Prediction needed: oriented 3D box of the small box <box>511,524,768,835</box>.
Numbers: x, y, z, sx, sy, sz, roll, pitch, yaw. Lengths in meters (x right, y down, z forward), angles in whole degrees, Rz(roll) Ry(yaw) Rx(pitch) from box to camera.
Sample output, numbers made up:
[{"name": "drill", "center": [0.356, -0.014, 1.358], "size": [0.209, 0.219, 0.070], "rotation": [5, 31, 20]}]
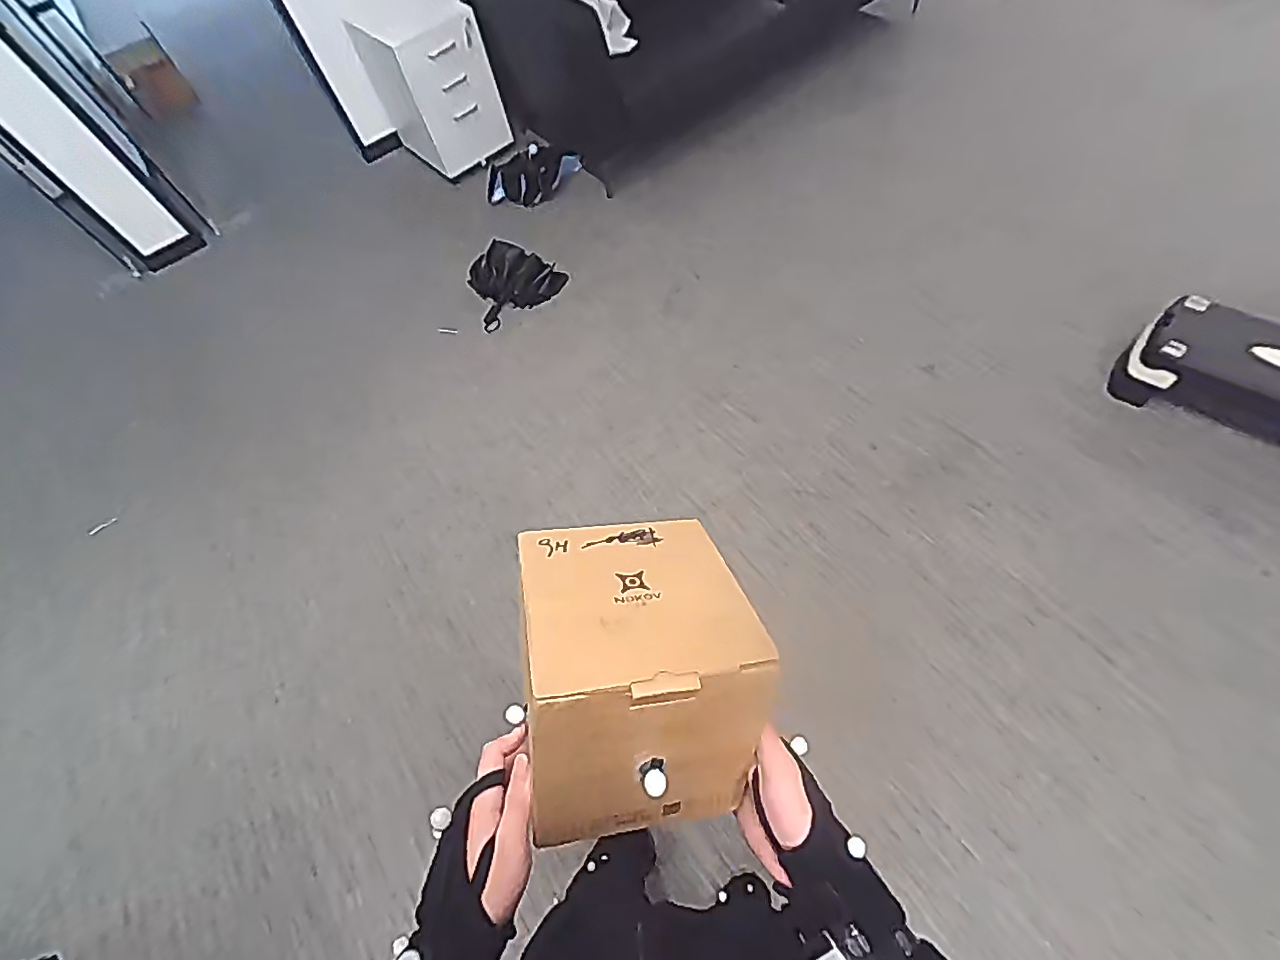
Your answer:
[{"name": "small box", "center": [-0.018, 0.157, 0.442], "size": [0.168, 0.176, 0.179], "rotation": [-2, 31, -14]}]
